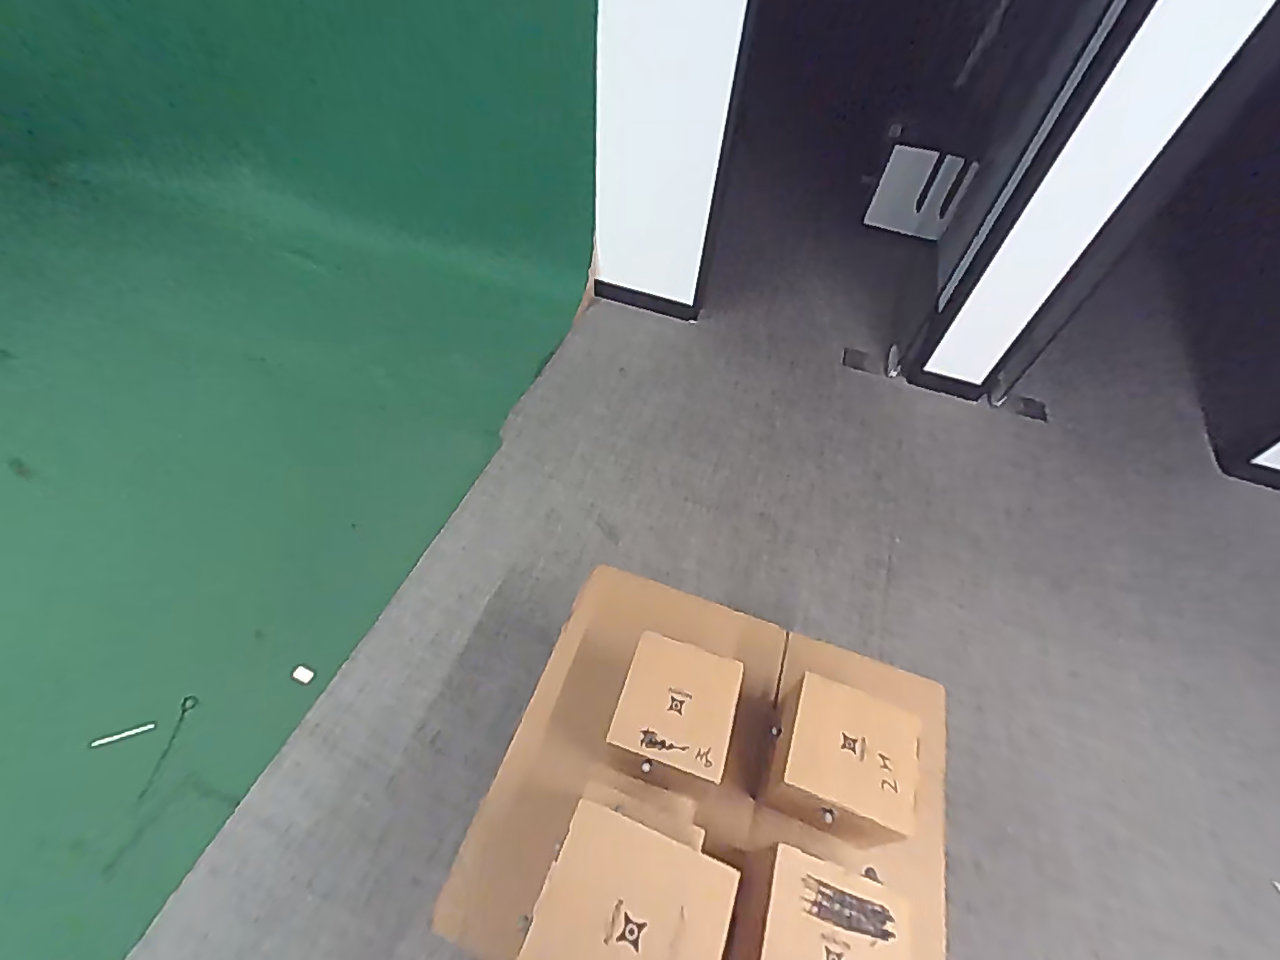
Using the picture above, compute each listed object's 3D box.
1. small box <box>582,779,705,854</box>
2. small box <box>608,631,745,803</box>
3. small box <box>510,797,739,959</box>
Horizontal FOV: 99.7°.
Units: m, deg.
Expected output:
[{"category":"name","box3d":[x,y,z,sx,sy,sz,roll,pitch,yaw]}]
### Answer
[{"category":"small box","box3d":[-0.026,0.532,0.710,0.168,0.176,0.179,19,52,10]},{"category":"small box","box3d":[0.052,0.370,0.842,0.168,0.176,0.179,16,51,9]},{"category":"small box","box3d":[-0.017,0.462,0.558,0.179,0.176,0.168,20,54,10]}]
